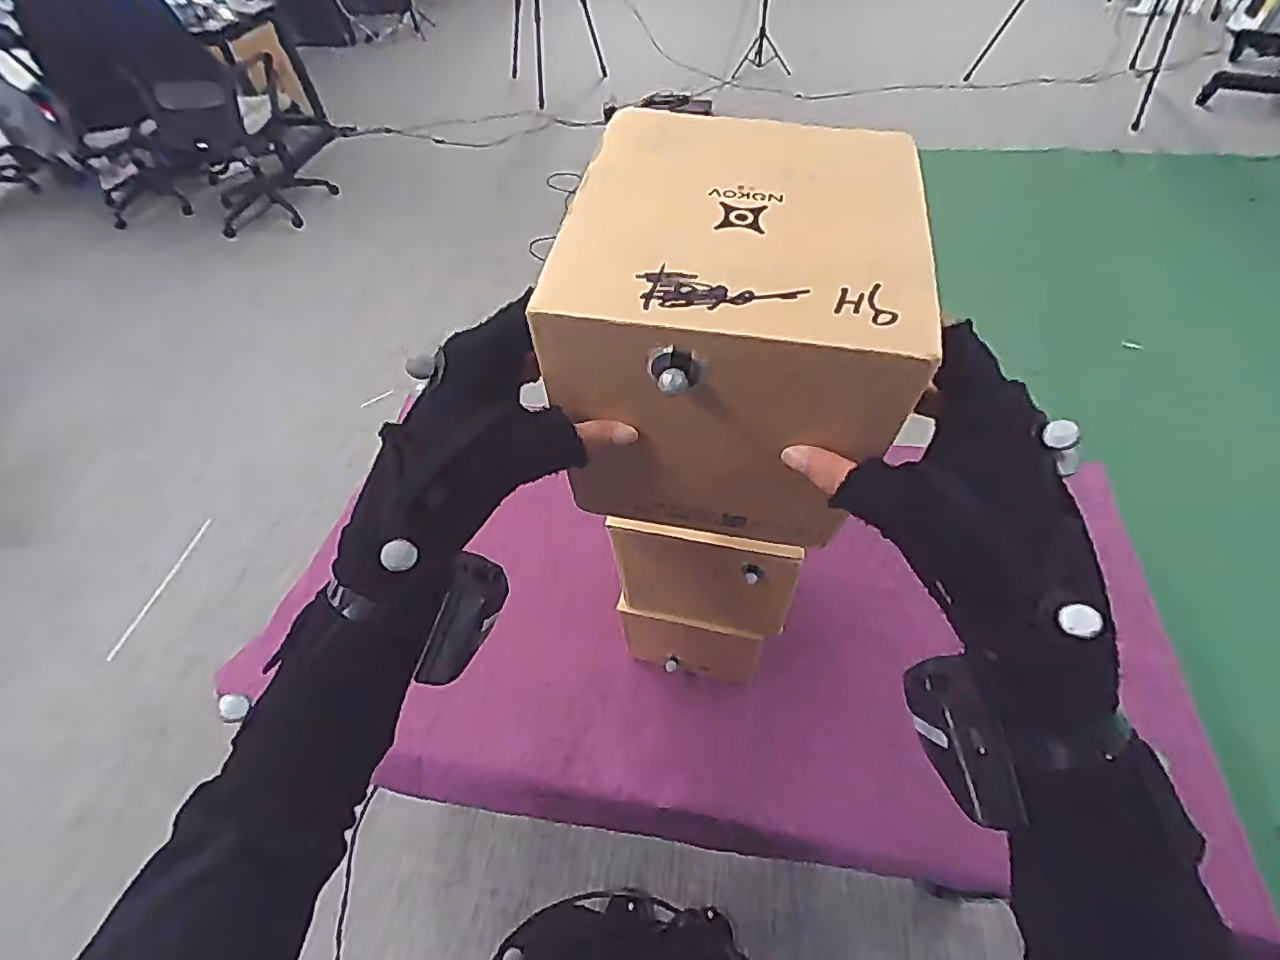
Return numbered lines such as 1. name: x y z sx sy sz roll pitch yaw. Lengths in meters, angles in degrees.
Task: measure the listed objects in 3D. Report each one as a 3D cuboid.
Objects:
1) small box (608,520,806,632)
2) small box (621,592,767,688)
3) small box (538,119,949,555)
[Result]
1. small box: 0.078 0.043 0.572 0.179 0.176 0.168 9 53 11
2. small box: 0.081 0.142 0.700 0.168 0.176 0.179 10 54 12
3. small box: 0.054 -0.079 0.323 0.168 0.176 0.179 9 57 8
